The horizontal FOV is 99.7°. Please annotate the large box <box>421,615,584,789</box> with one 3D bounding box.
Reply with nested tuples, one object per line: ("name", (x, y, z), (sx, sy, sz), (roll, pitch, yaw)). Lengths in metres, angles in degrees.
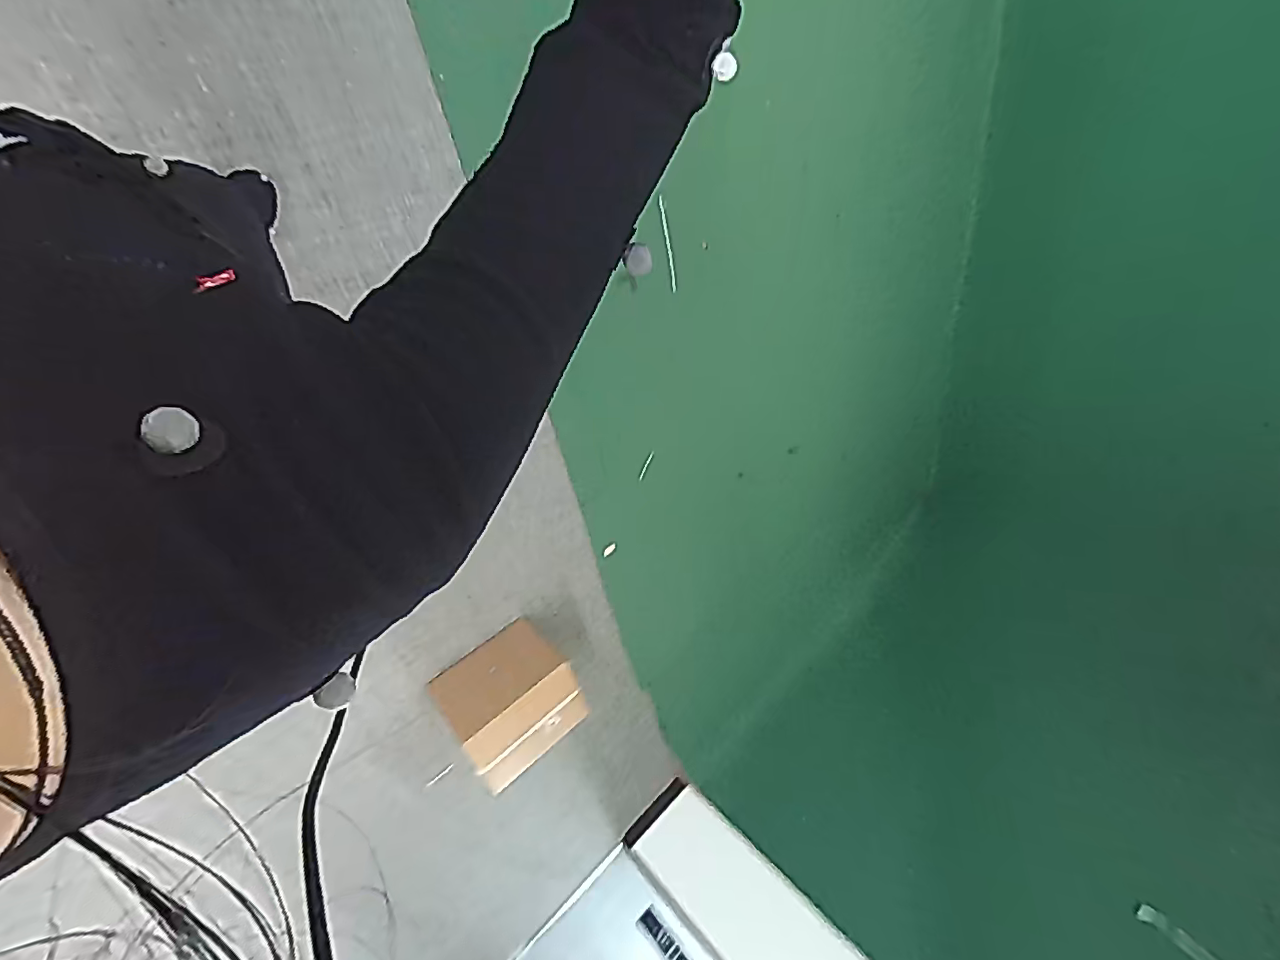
("large box", (-0.476, 0.762, 1.903), (0.408, 0.320, 0.320), (-35, 130, -29))
